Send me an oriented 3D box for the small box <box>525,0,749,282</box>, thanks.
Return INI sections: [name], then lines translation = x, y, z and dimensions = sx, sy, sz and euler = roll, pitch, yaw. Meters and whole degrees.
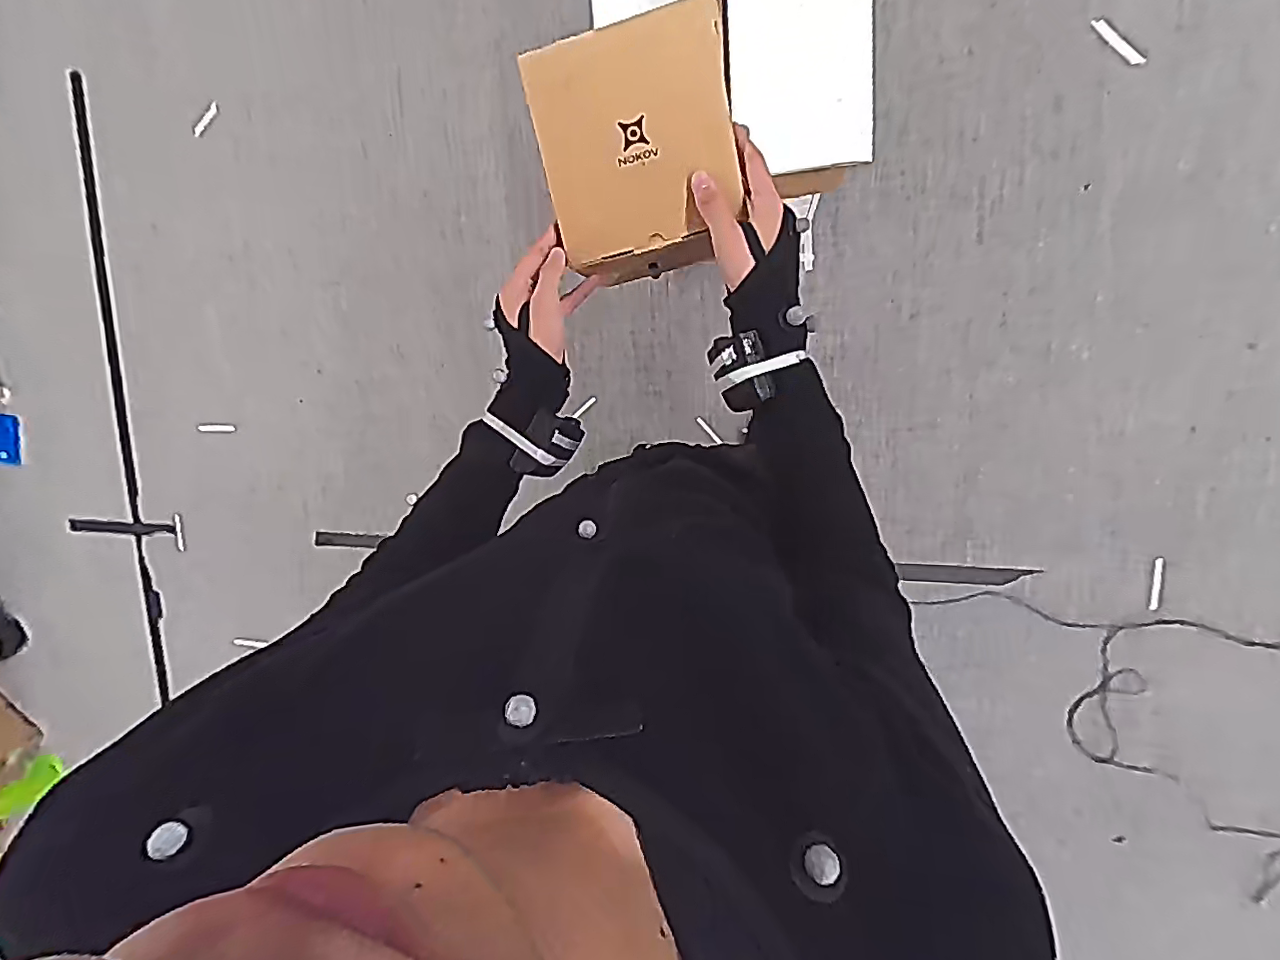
[small box]
translation = 0.006, -0.313, 0.541
dimensions = 0.168, 0.176, 0.179
euler = -12, 104, 9
